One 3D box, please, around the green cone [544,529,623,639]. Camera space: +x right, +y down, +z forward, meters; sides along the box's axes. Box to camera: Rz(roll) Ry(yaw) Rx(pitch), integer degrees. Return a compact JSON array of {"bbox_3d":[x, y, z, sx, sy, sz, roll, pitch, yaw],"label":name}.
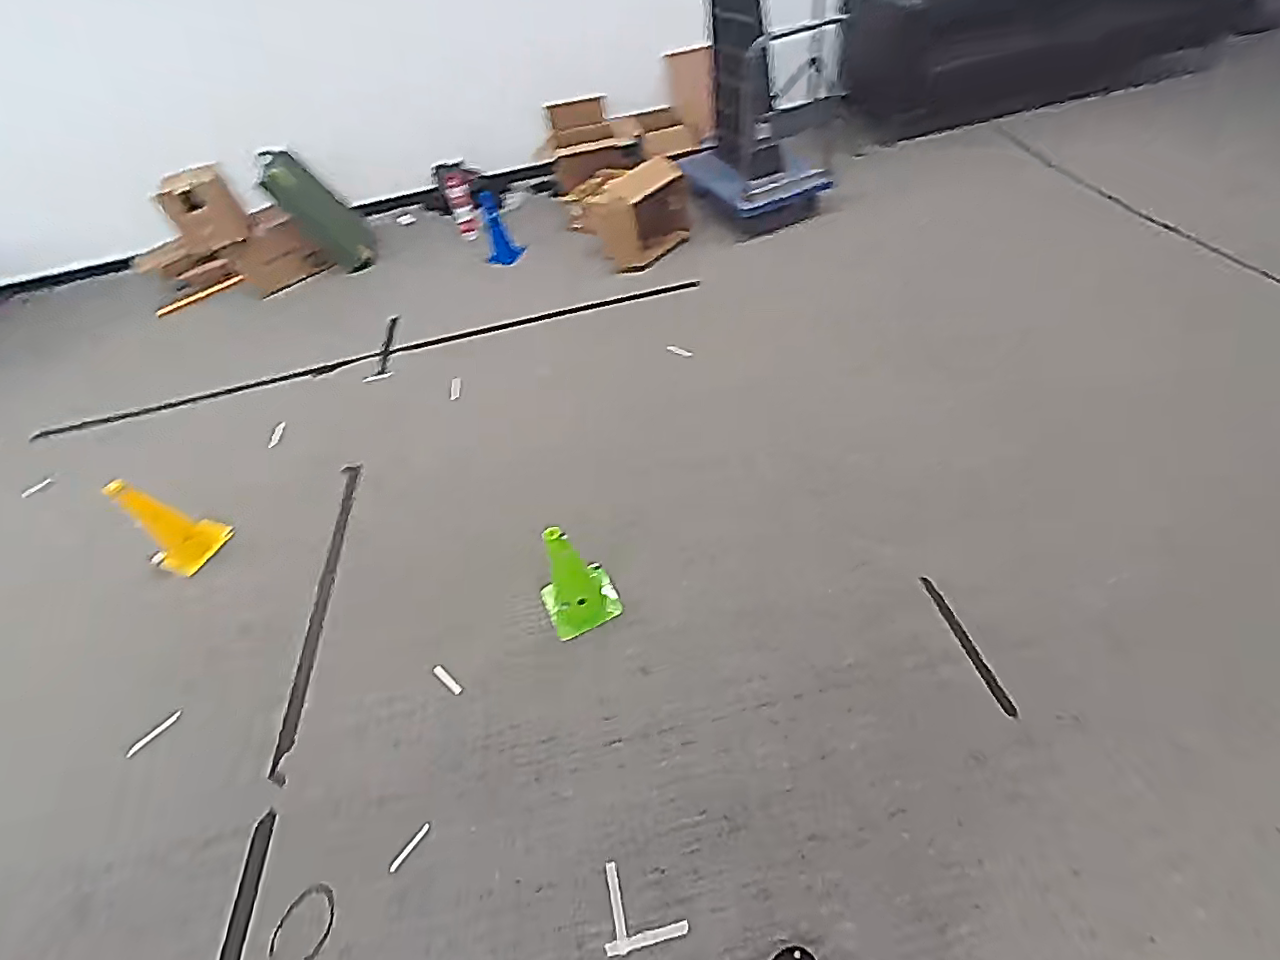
[{"bbox_3d":[-0.198,0.252,1.502,0.200,0.368,0.202,-25,50,-10],"label":"green cone"}]
